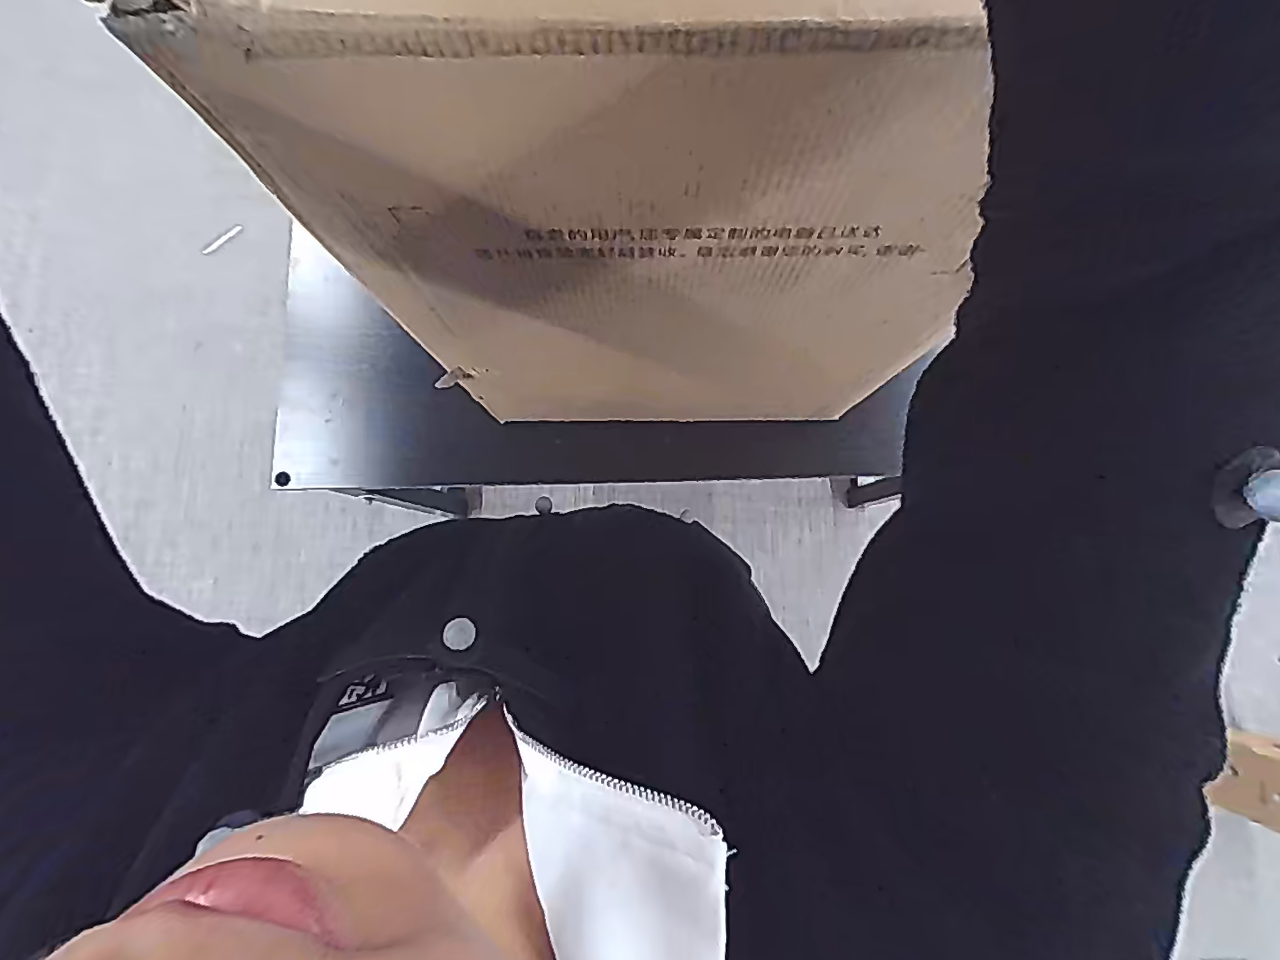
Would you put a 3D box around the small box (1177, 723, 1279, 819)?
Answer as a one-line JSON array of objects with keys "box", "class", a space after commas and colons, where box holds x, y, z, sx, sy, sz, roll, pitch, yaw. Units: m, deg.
[{"box": [1.517, 0.730, 1.366, 0.168, 0.176, 0.179, 3, 82, 1], "class": "small box"}]

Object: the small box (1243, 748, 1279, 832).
[{"box": [1.522, 0.713, 1.202, 0.179, 0.176, 0.168, 3, 81, 1], "class": "small box"}]
